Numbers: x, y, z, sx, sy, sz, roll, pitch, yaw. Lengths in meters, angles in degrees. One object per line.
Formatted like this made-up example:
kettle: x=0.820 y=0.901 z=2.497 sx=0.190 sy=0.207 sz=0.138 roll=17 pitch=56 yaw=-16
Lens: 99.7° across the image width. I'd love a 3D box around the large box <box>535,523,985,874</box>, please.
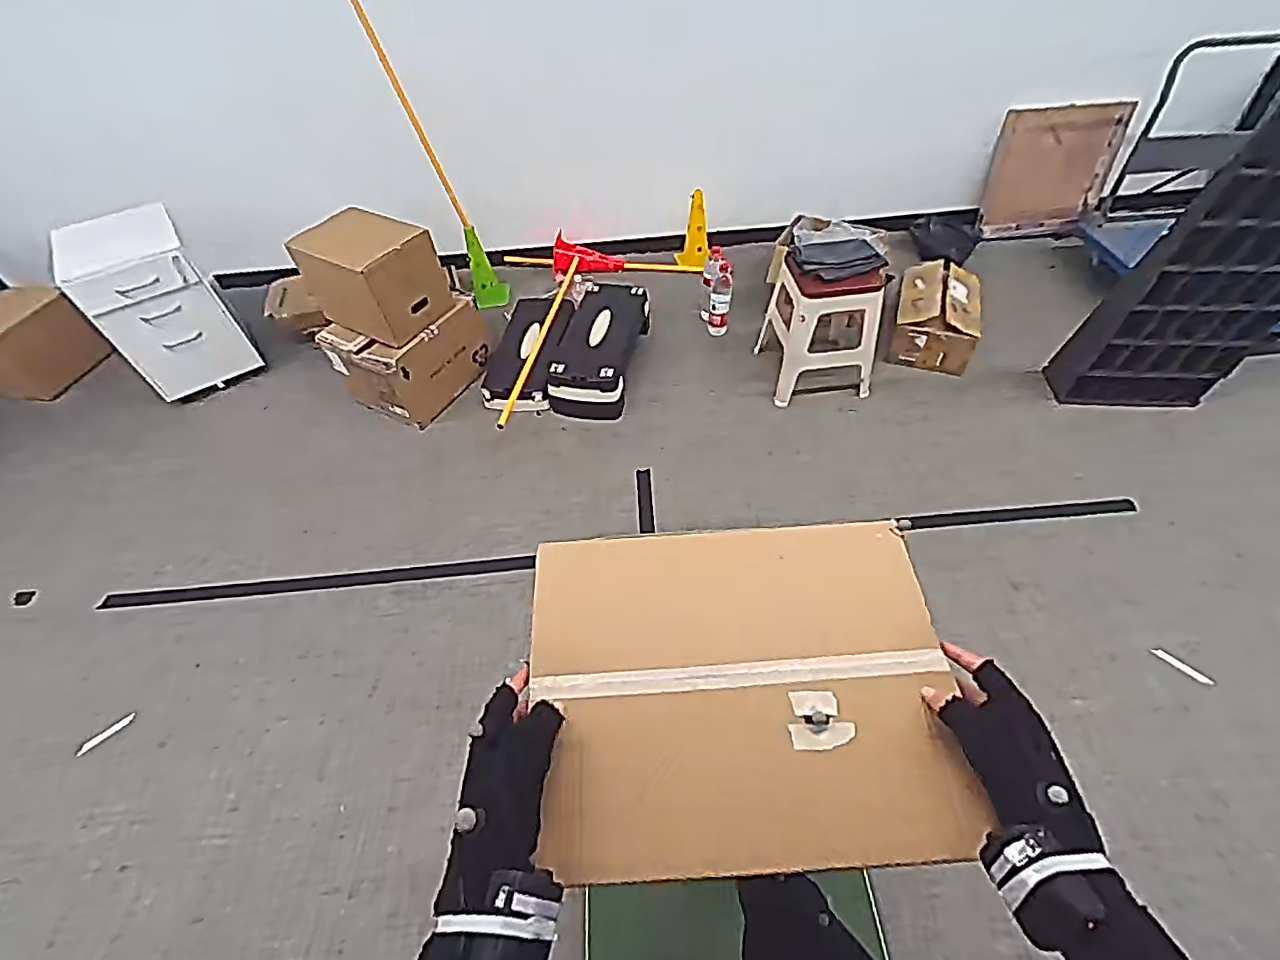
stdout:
large box: x=0.098 y=0.275 z=0.671 sx=0.408 sy=0.320 sz=0.320 roll=-4 pitch=57 yaw=-1
